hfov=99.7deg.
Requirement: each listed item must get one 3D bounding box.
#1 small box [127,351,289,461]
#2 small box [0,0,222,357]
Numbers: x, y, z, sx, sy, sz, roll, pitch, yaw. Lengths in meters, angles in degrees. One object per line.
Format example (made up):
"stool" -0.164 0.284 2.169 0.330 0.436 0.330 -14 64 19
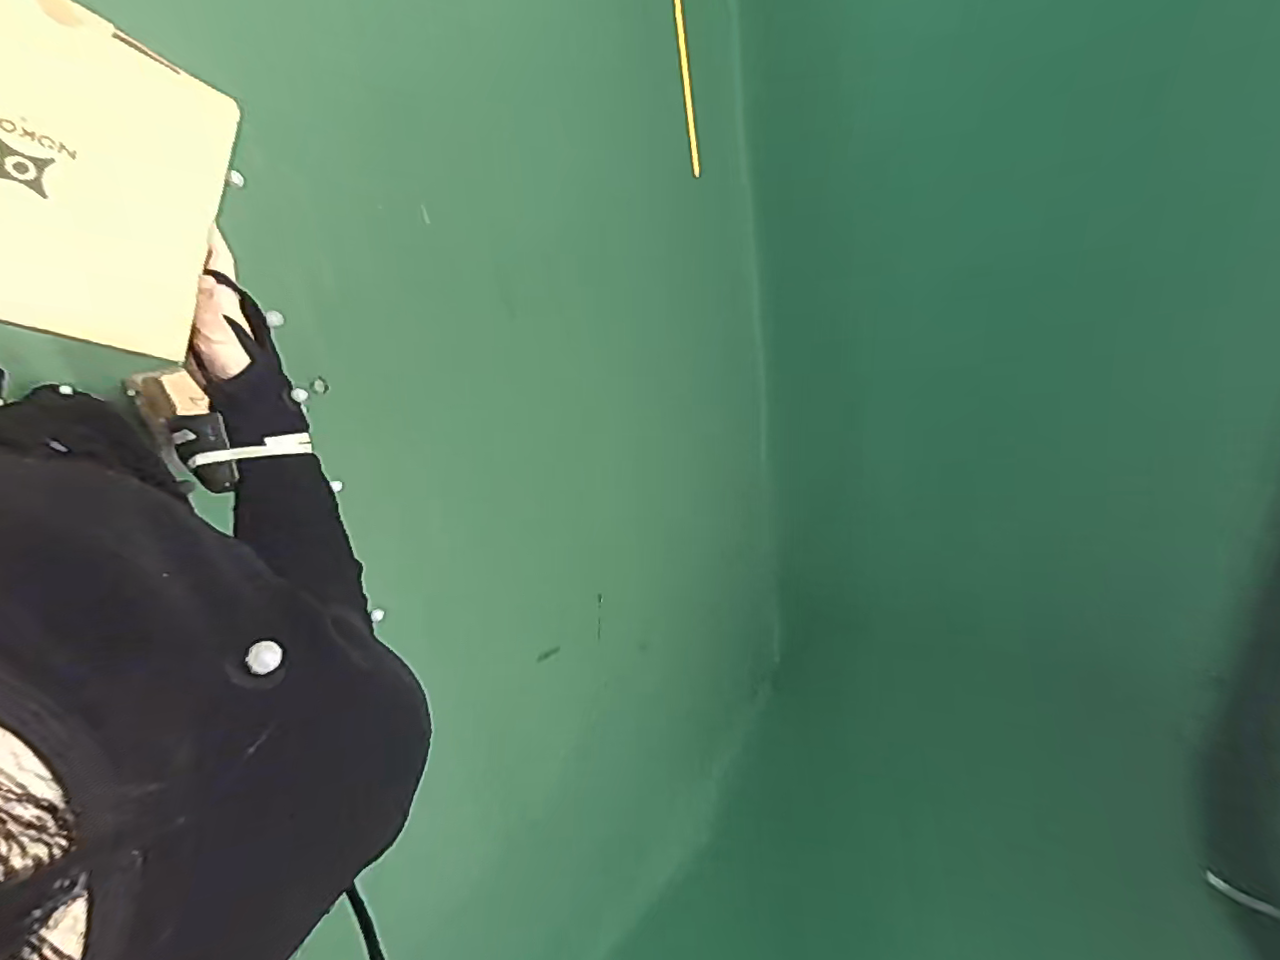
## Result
"small box" -0.826 -0.149 1.037 0.179 0.176 0.168 -33 121 -43
"small box" -0.398 -0.187 0.338 0.168 0.176 0.179 13 88 -50
